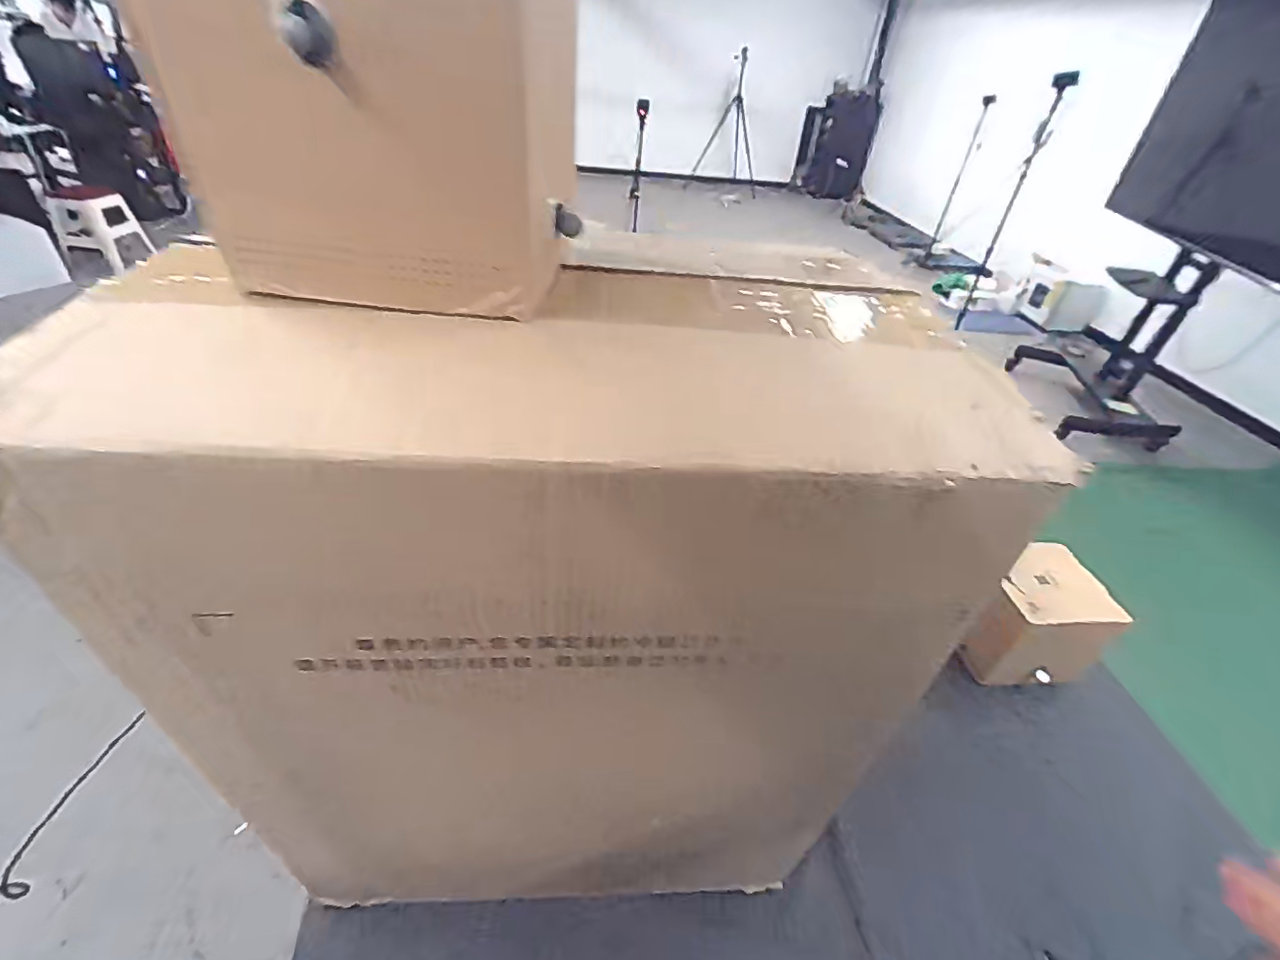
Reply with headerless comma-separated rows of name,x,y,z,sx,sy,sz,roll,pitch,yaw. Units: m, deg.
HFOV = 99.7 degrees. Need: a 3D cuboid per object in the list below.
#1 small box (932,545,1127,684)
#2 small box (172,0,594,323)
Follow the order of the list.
small box,0.646,0.231,0.924,0.179,0.176,0.168,1,38,-7
small box,-0.126,-0.212,0.326,0.179,0.176,0.168,7,44,-2
